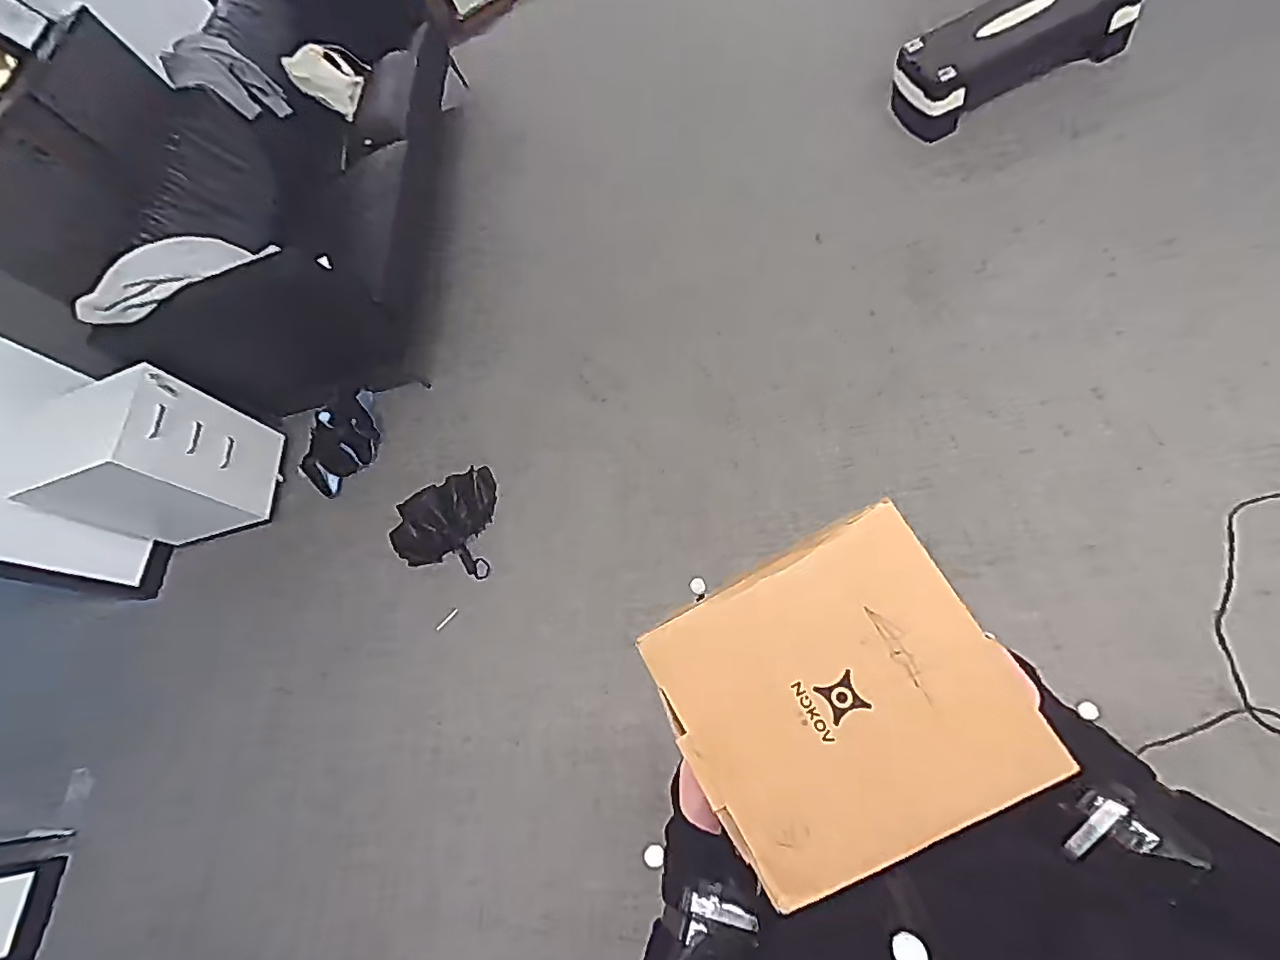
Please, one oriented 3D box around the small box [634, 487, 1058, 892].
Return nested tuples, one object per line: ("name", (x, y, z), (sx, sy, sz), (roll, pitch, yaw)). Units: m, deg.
("small box", (0.123, 0.126, 0.383), (0.179, 0.176, 0.168), (-32, 78, 5))
